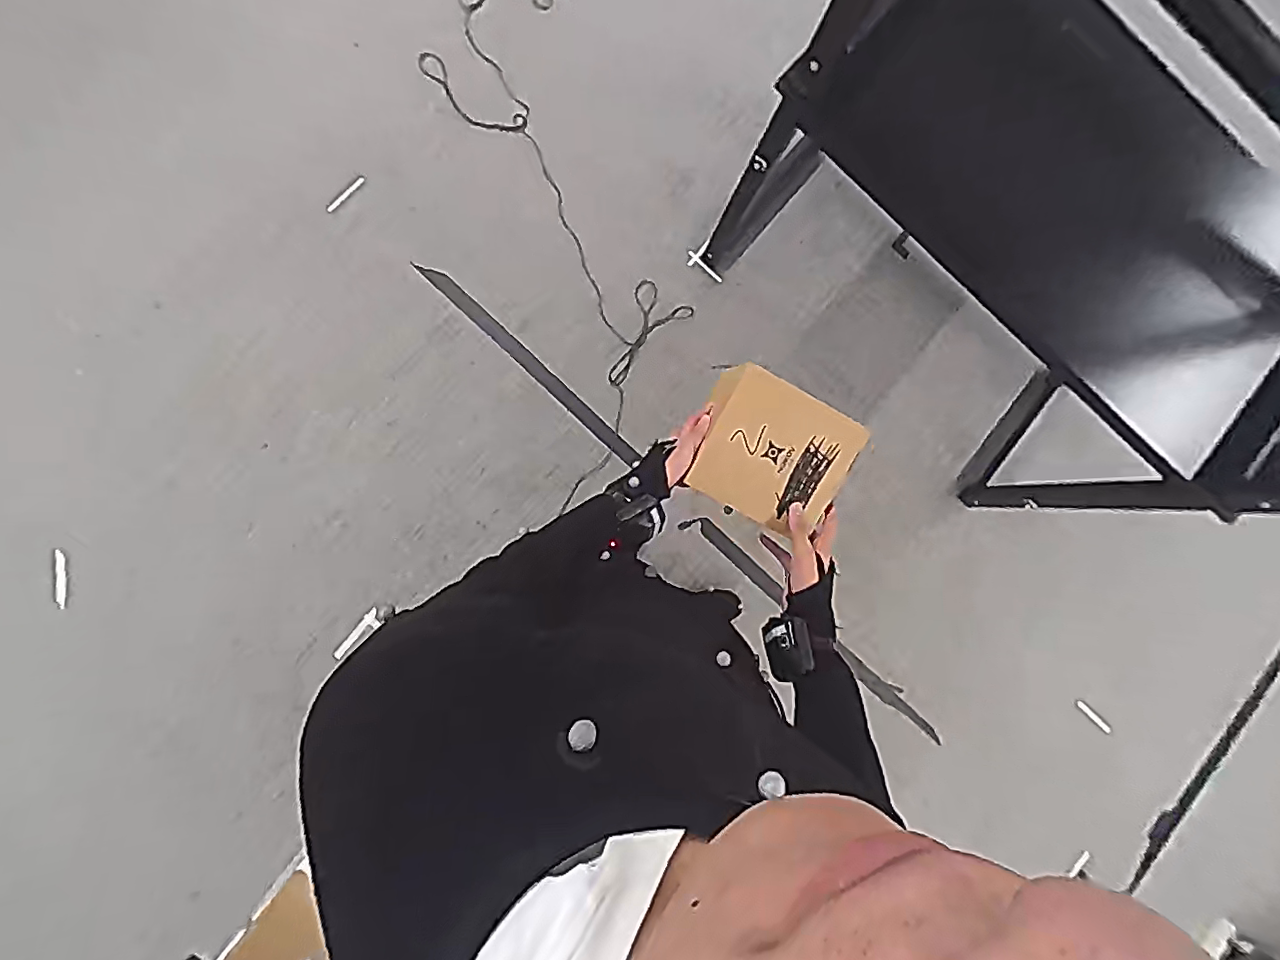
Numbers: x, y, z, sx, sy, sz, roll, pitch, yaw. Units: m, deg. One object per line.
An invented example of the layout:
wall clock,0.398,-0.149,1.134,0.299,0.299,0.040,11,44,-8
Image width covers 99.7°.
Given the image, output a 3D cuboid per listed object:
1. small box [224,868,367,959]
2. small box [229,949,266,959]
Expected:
small box,-0.593,0.808,0.893,0.168,0.176,0.179,39,85,-6
small box,-0.573,0.806,0.729,0.168,0.176,0.179,40,85,-5
